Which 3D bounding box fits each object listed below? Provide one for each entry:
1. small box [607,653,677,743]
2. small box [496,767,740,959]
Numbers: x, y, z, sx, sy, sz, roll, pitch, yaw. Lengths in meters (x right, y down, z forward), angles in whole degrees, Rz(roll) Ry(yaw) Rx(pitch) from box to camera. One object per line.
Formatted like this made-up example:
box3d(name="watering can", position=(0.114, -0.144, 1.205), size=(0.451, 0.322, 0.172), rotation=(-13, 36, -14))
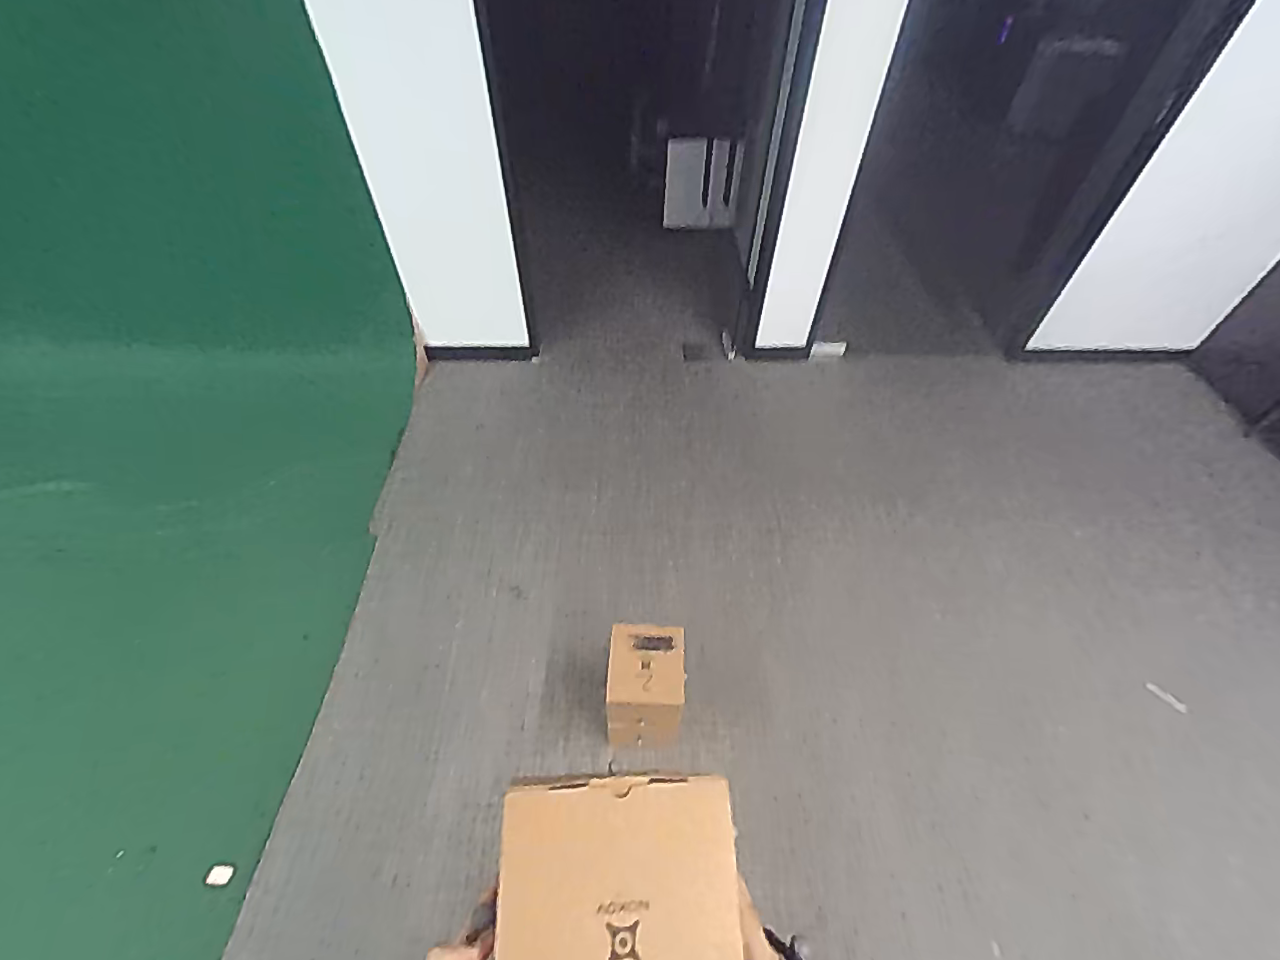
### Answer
box3d(name="small box", position=(0.007, 0.553, 1.366), size=(0.168, 0.176, 0.179), rotation=(1, 51, 0))
box3d(name="small box", position=(-0.027, 0.335, 0.434), size=(0.168, 0.176, 0.179), rotation=(3, 63, -11))
